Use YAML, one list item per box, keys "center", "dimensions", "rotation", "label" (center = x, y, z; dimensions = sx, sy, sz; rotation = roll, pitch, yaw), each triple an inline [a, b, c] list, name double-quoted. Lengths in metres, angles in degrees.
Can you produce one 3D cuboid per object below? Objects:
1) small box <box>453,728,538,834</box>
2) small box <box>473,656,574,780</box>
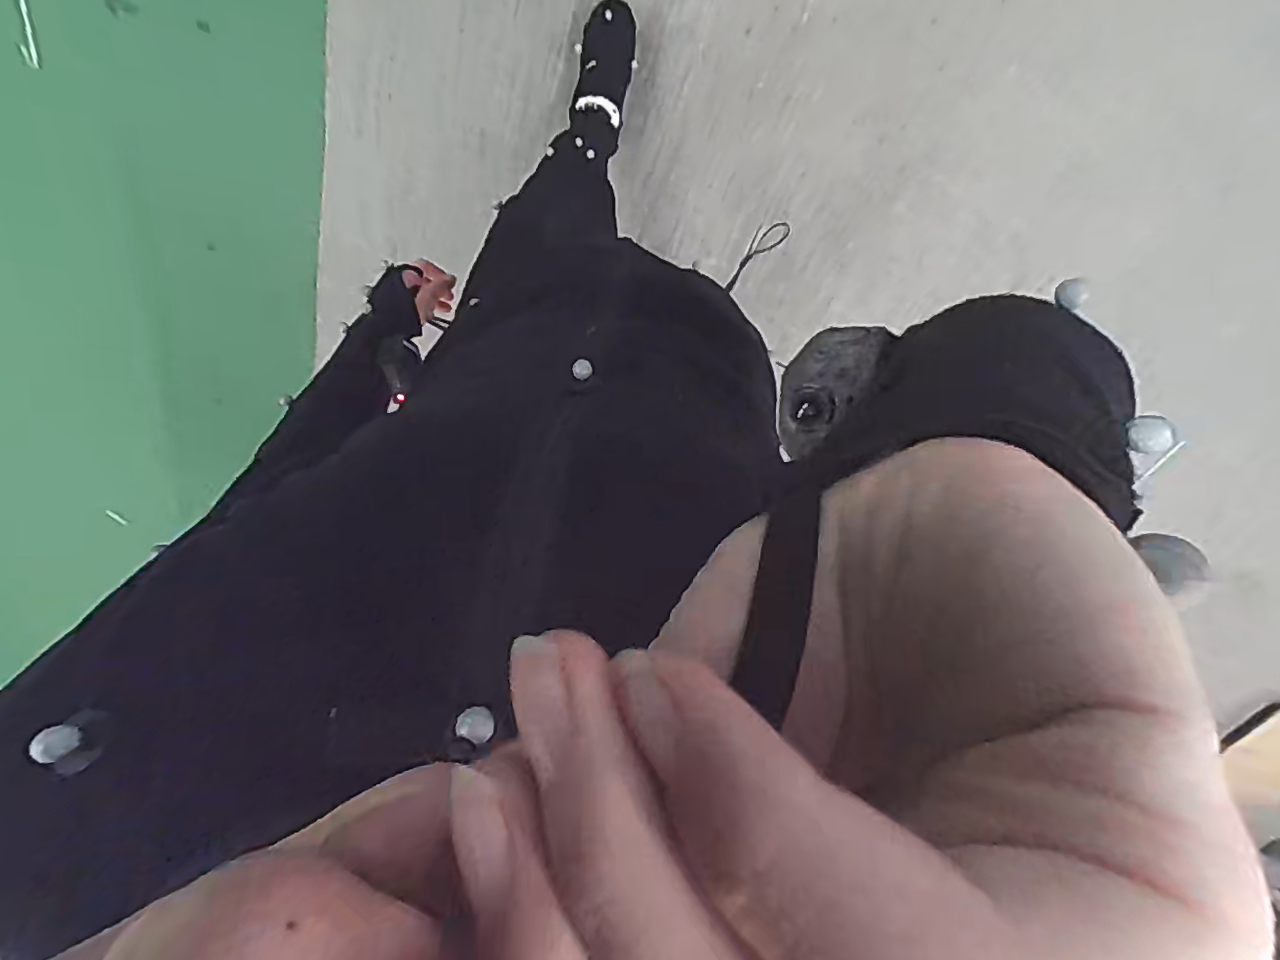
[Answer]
- center: [-0.348, 0.744, 1.350]
  dimensions: [0.168, 0.176, 0.179]
  rotation: [17, 123, -8]
  label: "small box"
- center: [-0.253, 0.524, 1.197]
  dimensions: [0.168, 0.176, 0.179]
  rotation: [17, 124, -8]
  label: "small box"
